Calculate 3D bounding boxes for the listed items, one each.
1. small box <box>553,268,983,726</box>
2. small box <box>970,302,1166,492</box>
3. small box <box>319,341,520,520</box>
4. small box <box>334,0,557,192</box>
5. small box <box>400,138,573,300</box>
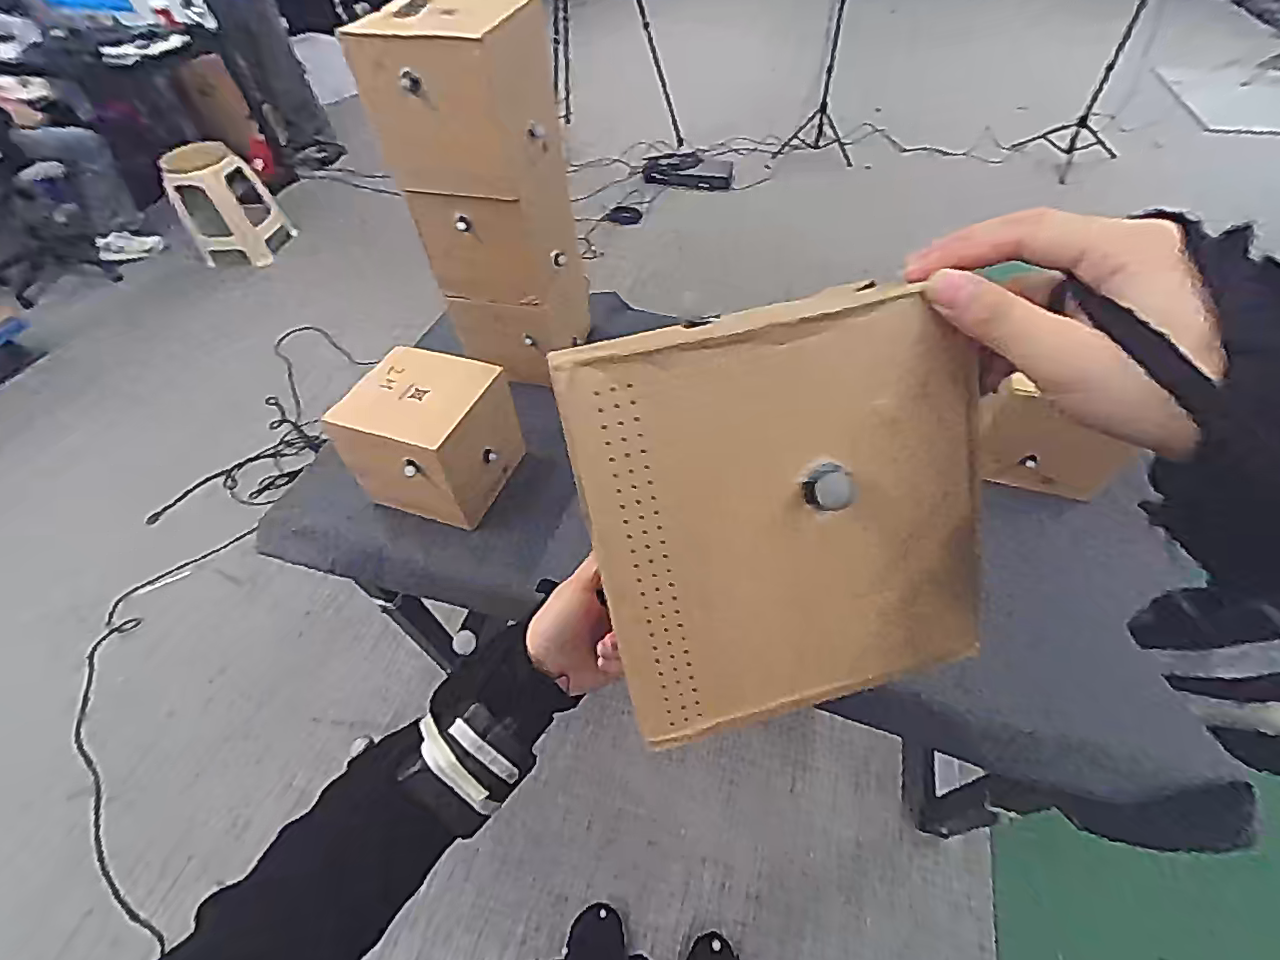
[{"bbox_3d":[0.051,-0.001,0.301,0.176,0.179,0.168,-14,17,-6],"label":"small box"},{"bbox_3d":[0.558,-0.113,0.746,0.168,0.176,0.179,14,56,15],"label":"small box"},{"bbox_3d":[-0.291,-0.065,0.761,0.179,0.176,0.168,14,52,14],"label":"small box"},{"bbox_3d":[-0.220,-0.481,0.668,0.179,0.176,0.168,11,56,11],"label":"small box"},{"bbox_3d":[-0.213,-0.391,0.806,0.179,0.176,0.168,10,56,9],"label":"small box"}]
